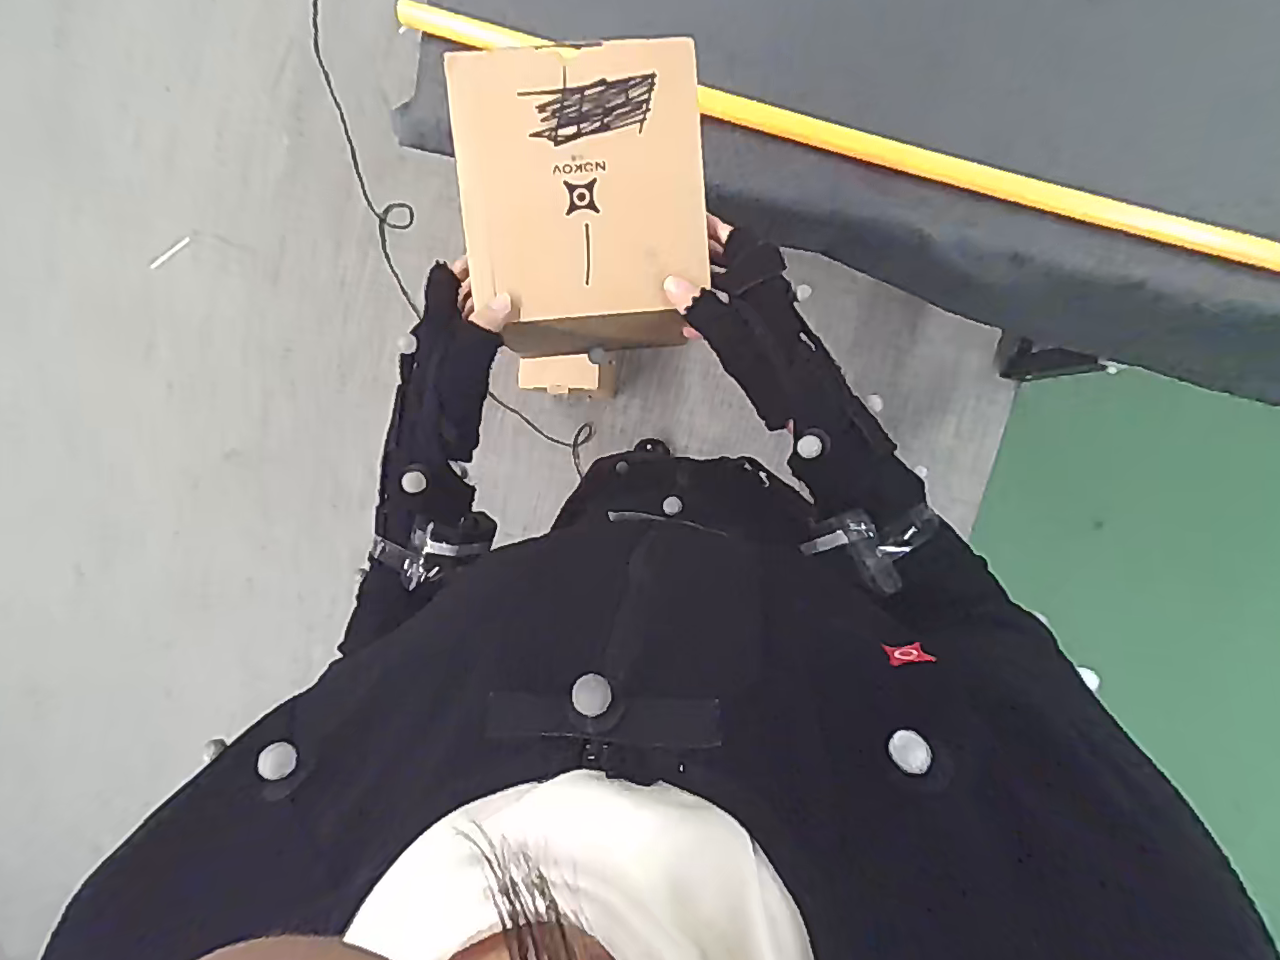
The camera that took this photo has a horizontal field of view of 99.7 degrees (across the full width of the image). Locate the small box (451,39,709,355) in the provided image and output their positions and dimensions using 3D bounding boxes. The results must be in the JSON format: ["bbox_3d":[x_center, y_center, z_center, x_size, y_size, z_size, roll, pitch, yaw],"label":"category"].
[{"bbox_3d":[-0.041,-0.207,0.443,0.168,0.176,0.179,-5,95,0],"label":"small box"}]

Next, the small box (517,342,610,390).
[{"bbox_3d":[-0.159,-0.284,1.162,0.168,0.176,0.179,0,96,6],"label":"small box"}]
